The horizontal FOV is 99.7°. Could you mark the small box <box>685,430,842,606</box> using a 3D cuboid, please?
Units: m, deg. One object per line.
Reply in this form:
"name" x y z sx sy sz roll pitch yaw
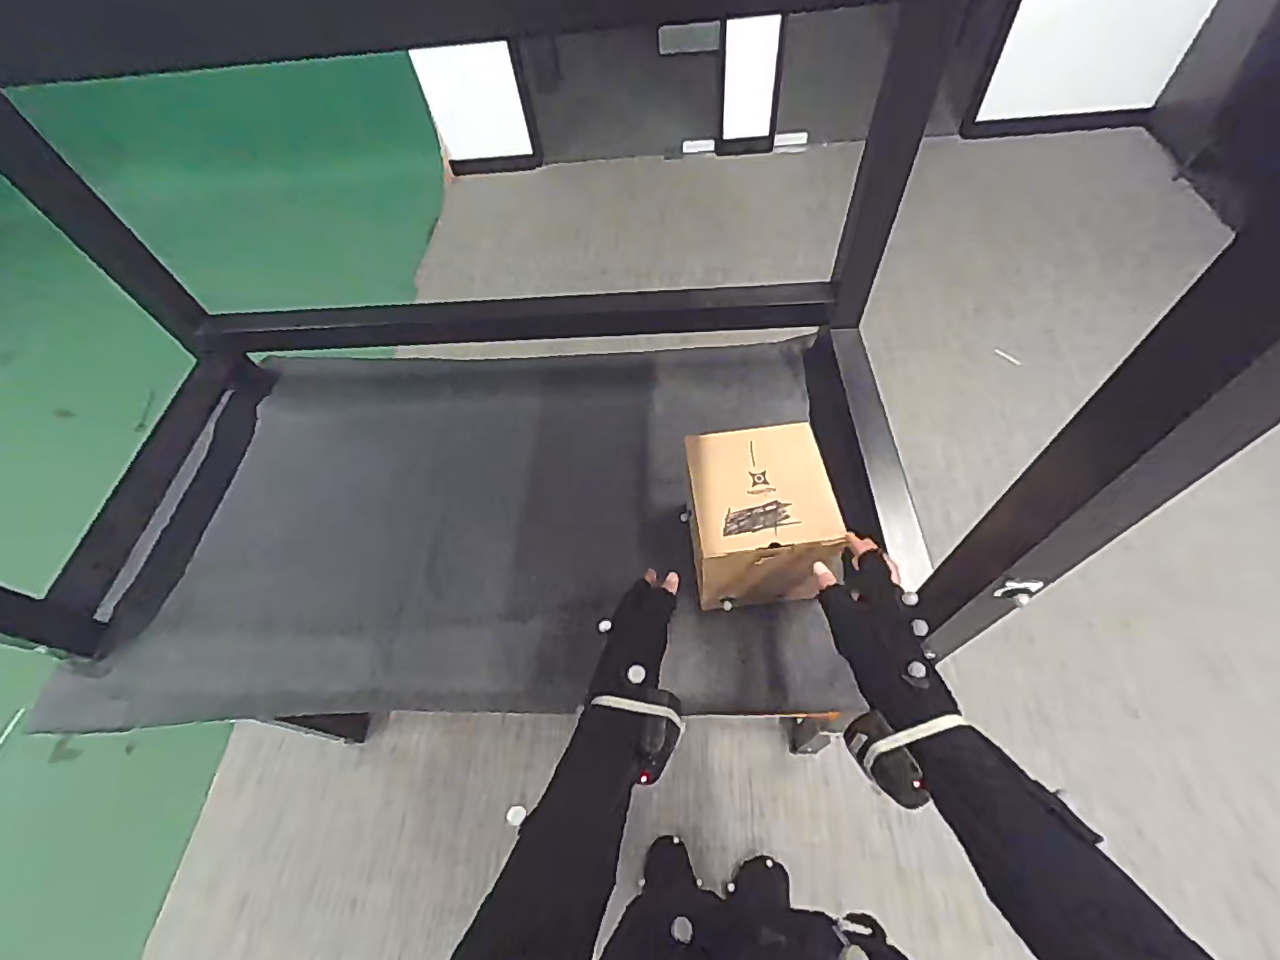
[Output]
"small box" 0.154 0.060 0.729 0.168 0.176 0.179 -7 54 2
